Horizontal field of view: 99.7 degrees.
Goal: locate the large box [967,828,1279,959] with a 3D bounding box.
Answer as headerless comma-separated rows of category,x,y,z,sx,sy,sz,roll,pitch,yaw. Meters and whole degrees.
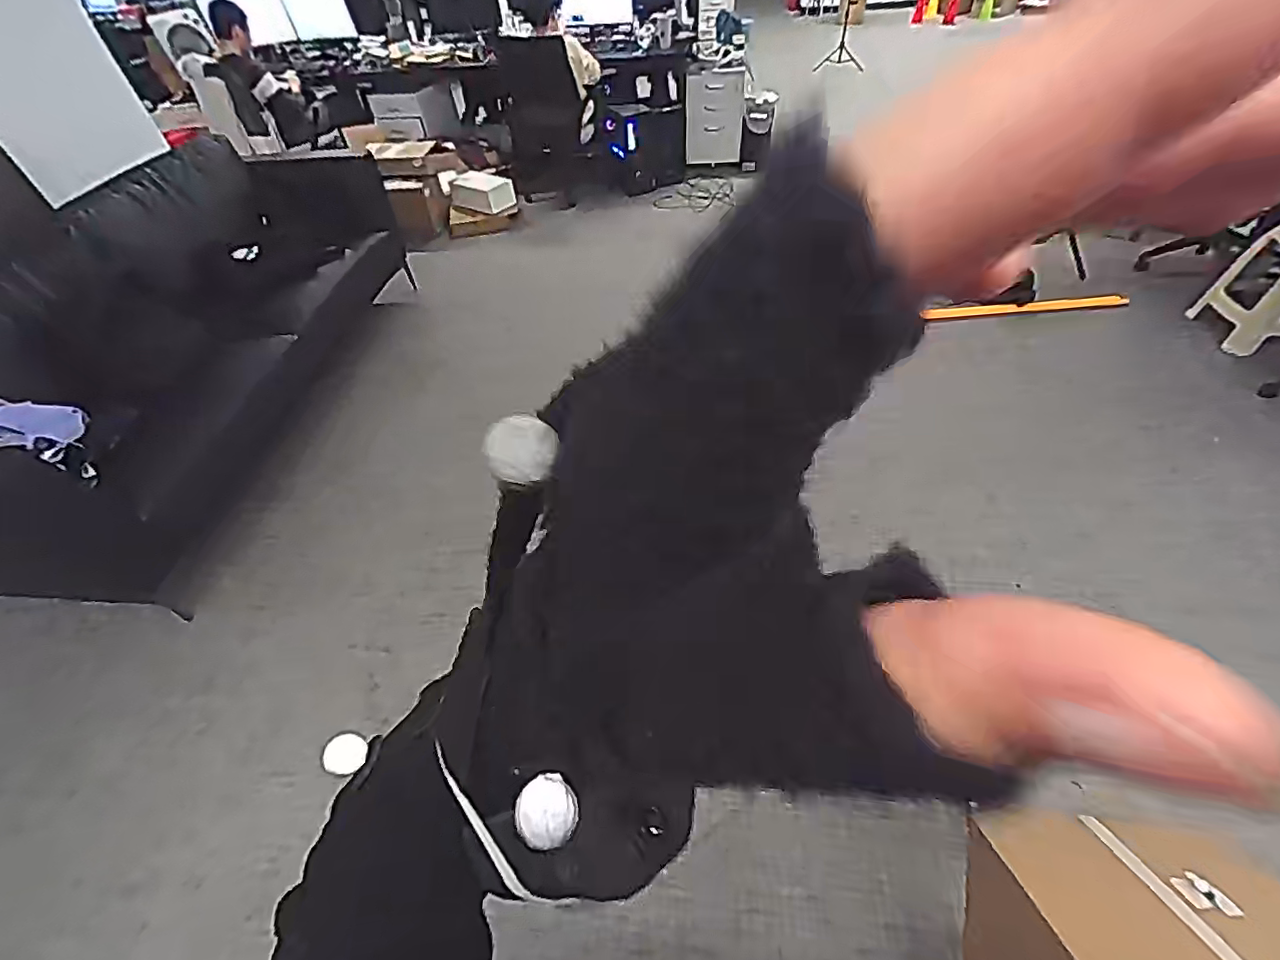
large box,0.615,0.672,0.593,0.320,0.408,0.320,1,92,7
